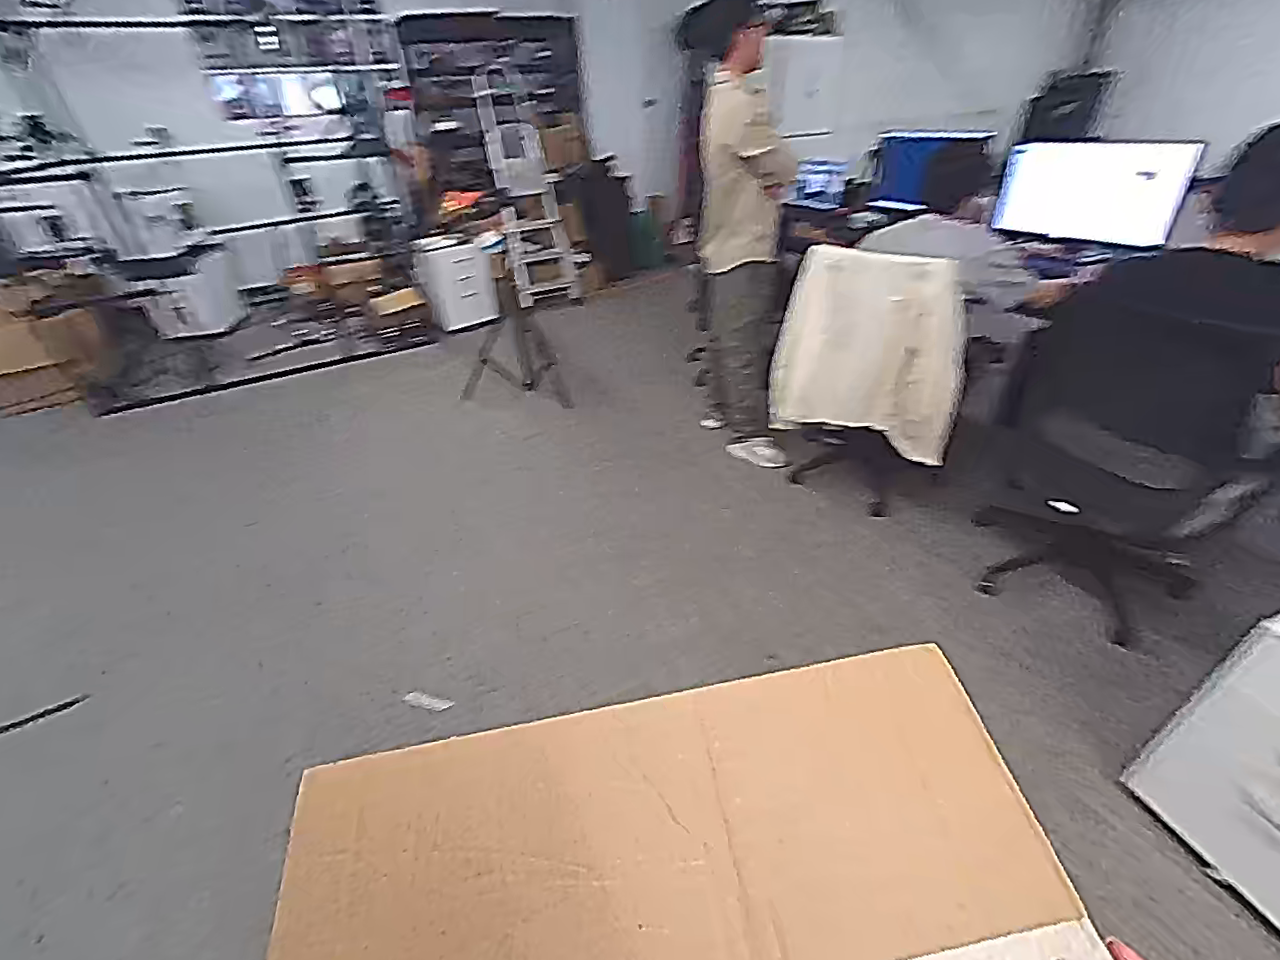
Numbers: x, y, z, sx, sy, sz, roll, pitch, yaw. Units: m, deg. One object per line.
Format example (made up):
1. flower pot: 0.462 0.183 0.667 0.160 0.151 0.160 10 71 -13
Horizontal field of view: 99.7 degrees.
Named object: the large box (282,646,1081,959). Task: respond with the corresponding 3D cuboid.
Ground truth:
1. large box: 0.028 0.361 0.370 0.408 0.320 0.320 -11 52 -6
